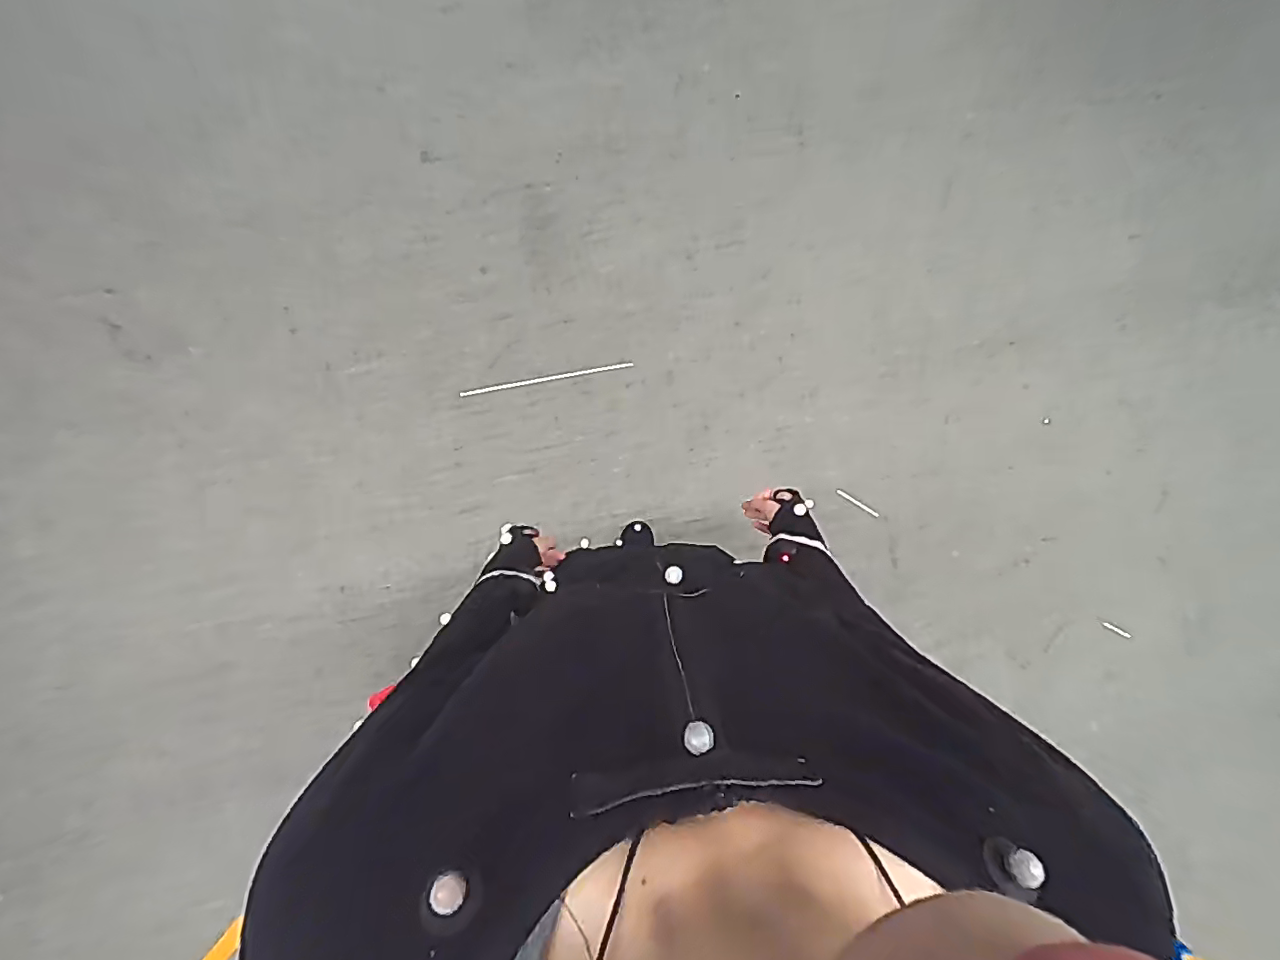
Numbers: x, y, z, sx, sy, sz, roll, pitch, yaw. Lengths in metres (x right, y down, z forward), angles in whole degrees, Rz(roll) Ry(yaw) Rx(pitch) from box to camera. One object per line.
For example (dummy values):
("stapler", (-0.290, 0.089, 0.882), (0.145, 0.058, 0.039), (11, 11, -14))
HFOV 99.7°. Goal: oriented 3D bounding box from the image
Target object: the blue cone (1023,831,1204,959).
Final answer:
("blue cone", (1.186, 1.078, 1.346), (0.192, 0.380, 0.193), (32, 79, 0))
